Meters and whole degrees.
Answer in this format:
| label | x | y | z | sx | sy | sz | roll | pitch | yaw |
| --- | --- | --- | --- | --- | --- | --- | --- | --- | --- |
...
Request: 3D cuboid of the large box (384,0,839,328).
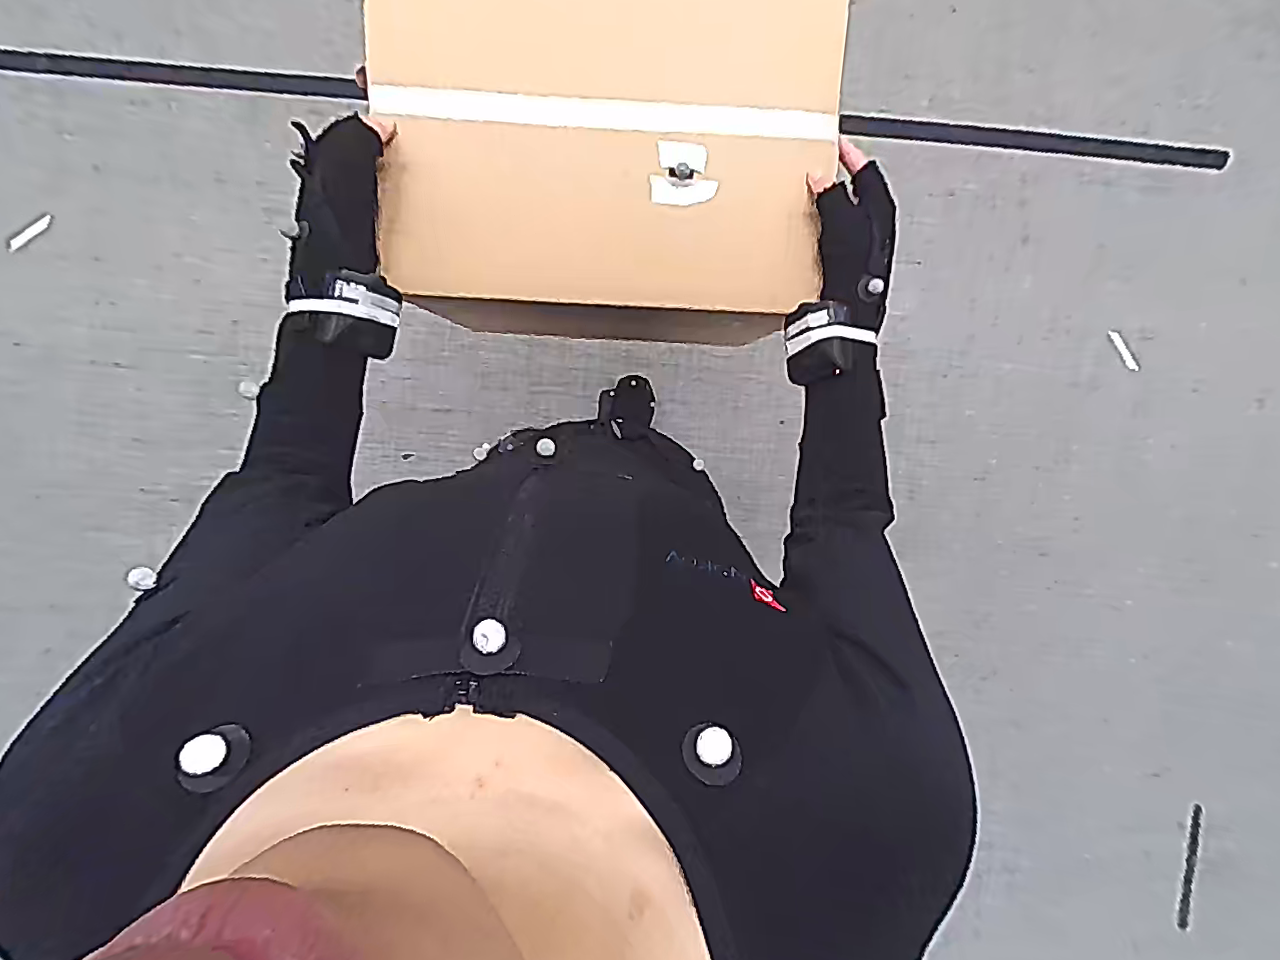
| label | x | y | z | sx | sy | sz | roll | pitch | yaw |
| --- | --- | --- | --- | --- | --- | --- | --- | --- | --- |
| large box | -0.032 | -0.356 | 0.632 | 0.408 | 0.320 | 0.320 | 1 | 100 | -3 |
